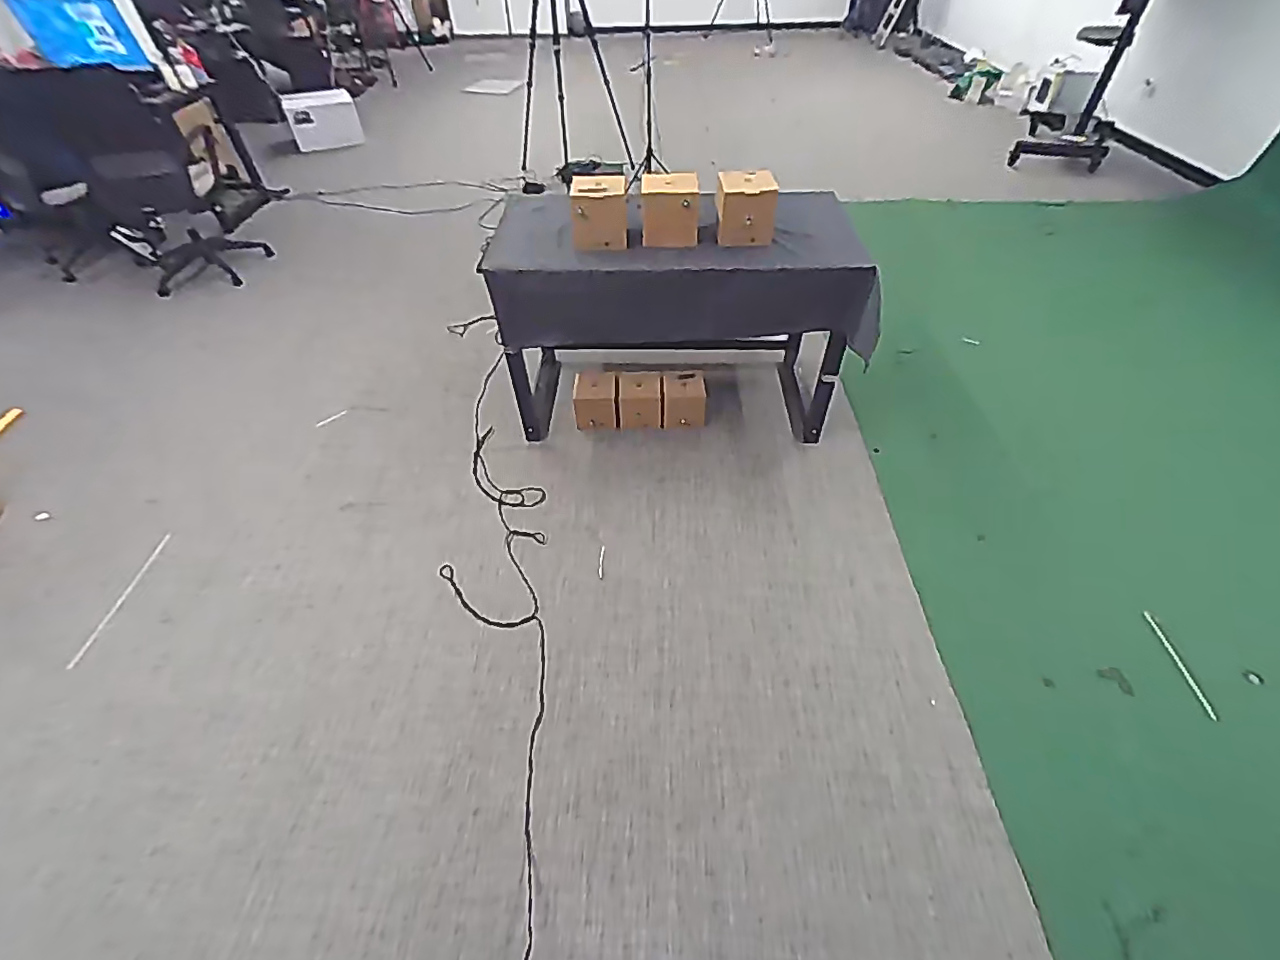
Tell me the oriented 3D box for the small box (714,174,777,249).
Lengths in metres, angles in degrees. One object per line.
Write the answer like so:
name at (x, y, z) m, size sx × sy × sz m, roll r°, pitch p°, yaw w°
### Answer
small box at (0.328, -0.850, 1.715) m, size 0.168 × 0.176 × 0.179 m, roll -1°, pitch 47°, yaw 0°
